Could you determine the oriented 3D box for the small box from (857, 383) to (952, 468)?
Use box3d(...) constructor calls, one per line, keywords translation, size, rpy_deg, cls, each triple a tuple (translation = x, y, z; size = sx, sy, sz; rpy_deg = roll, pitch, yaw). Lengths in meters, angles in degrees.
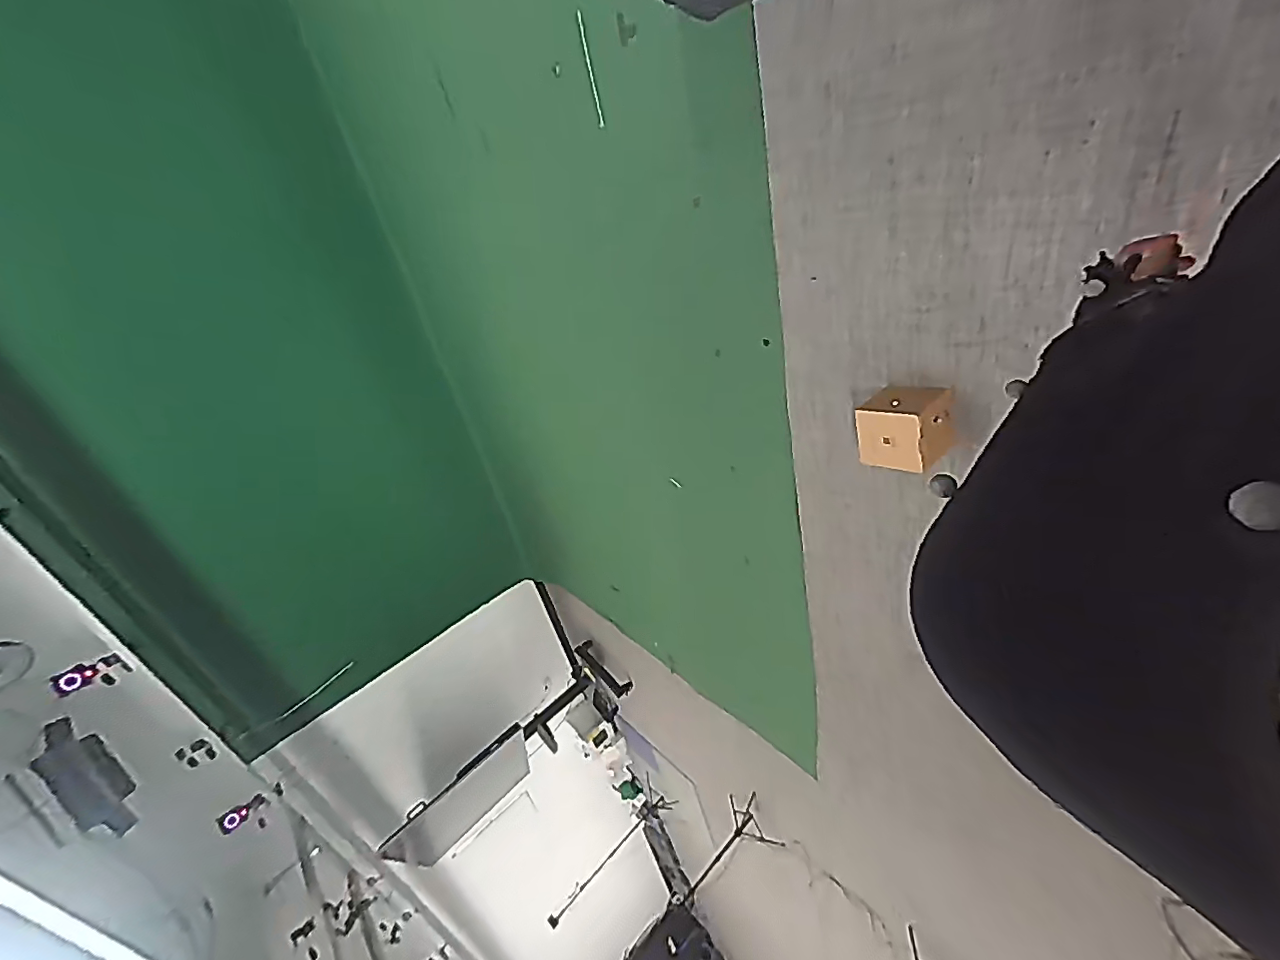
box3d(translation=(0.712, -0.153, 1.446), size=(0.179, 0.176, 0.168), rpy_deg=(17, 131, 51), cls="small box")
